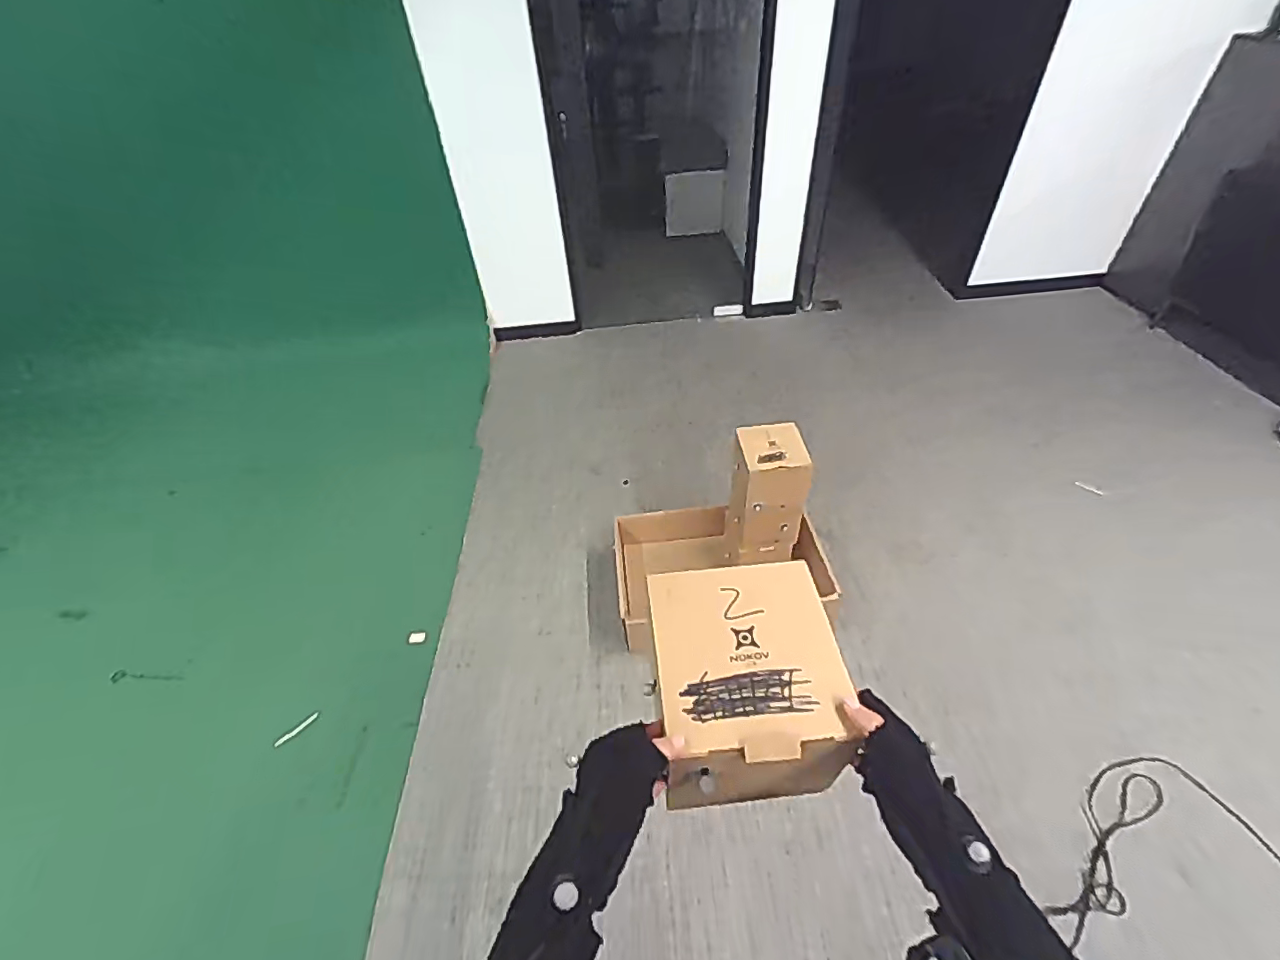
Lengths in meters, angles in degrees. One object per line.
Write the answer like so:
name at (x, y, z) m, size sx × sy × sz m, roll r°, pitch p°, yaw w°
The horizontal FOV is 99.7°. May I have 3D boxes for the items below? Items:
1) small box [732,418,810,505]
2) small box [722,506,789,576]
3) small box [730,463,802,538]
small box at (0.351, -0.044, 1.475) m, size 0.168 × 0.176 × 0.179 m, roll -5°, pitch 45°, yaw -1°
small box at (0.360, 0.187, 1.710) m, size 0.168 × 0.176 × 0.179 m, roll -11°, pitch 44°, yaw -3°
small box at (0.362, 0.055, 1.584) m, size 0.168 × 0.176 × 0.179 m, roll -7°, pitch 45°, yaw -1°
